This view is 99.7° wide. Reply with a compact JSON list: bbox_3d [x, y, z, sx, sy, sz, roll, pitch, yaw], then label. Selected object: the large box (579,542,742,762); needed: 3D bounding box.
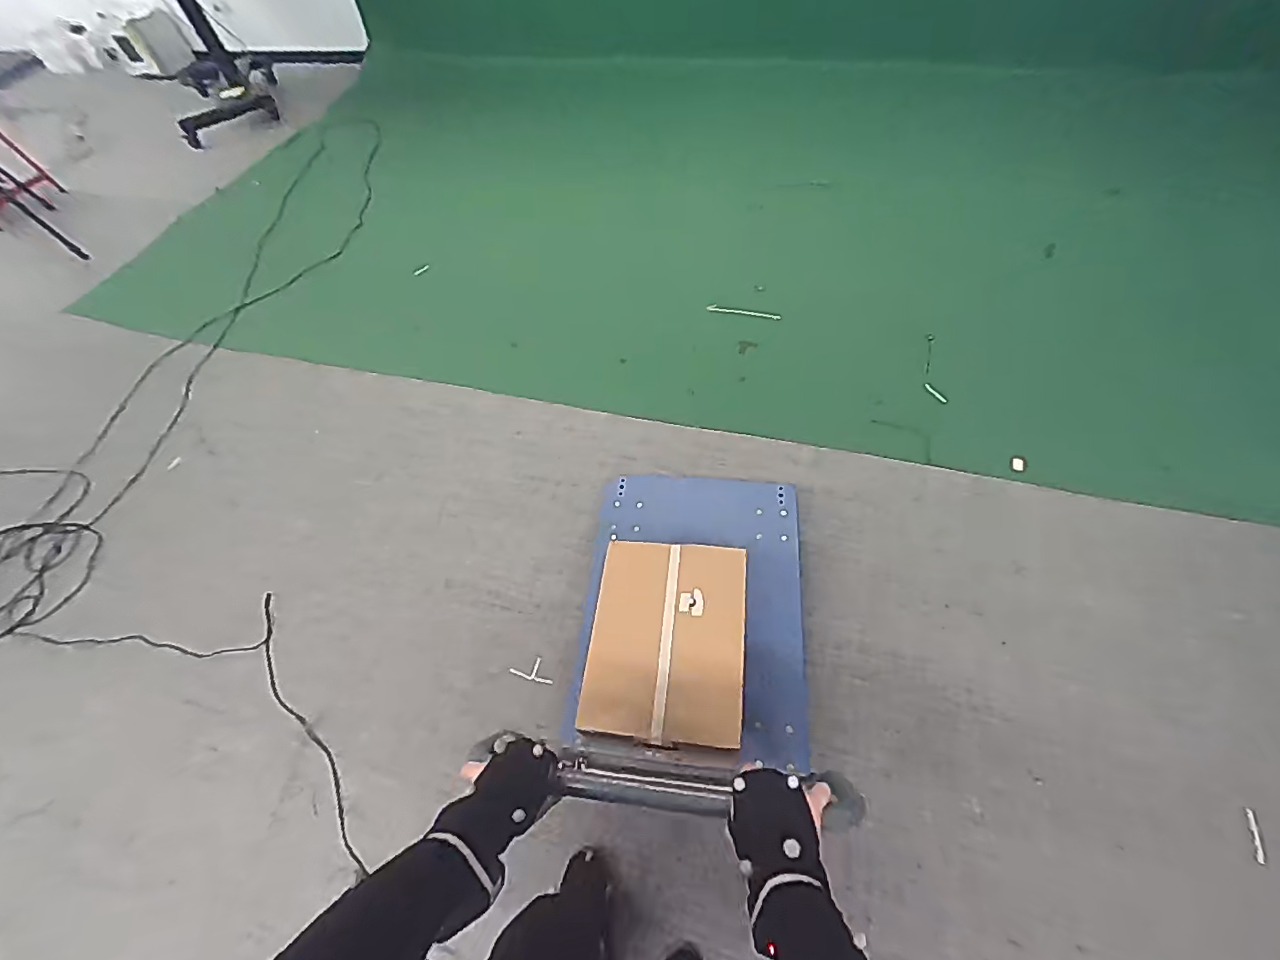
[{"bbox_3d":[0.071,0.397,1.248,0.320,0.320,0.408,3,56,9],"label":"large box"}]
